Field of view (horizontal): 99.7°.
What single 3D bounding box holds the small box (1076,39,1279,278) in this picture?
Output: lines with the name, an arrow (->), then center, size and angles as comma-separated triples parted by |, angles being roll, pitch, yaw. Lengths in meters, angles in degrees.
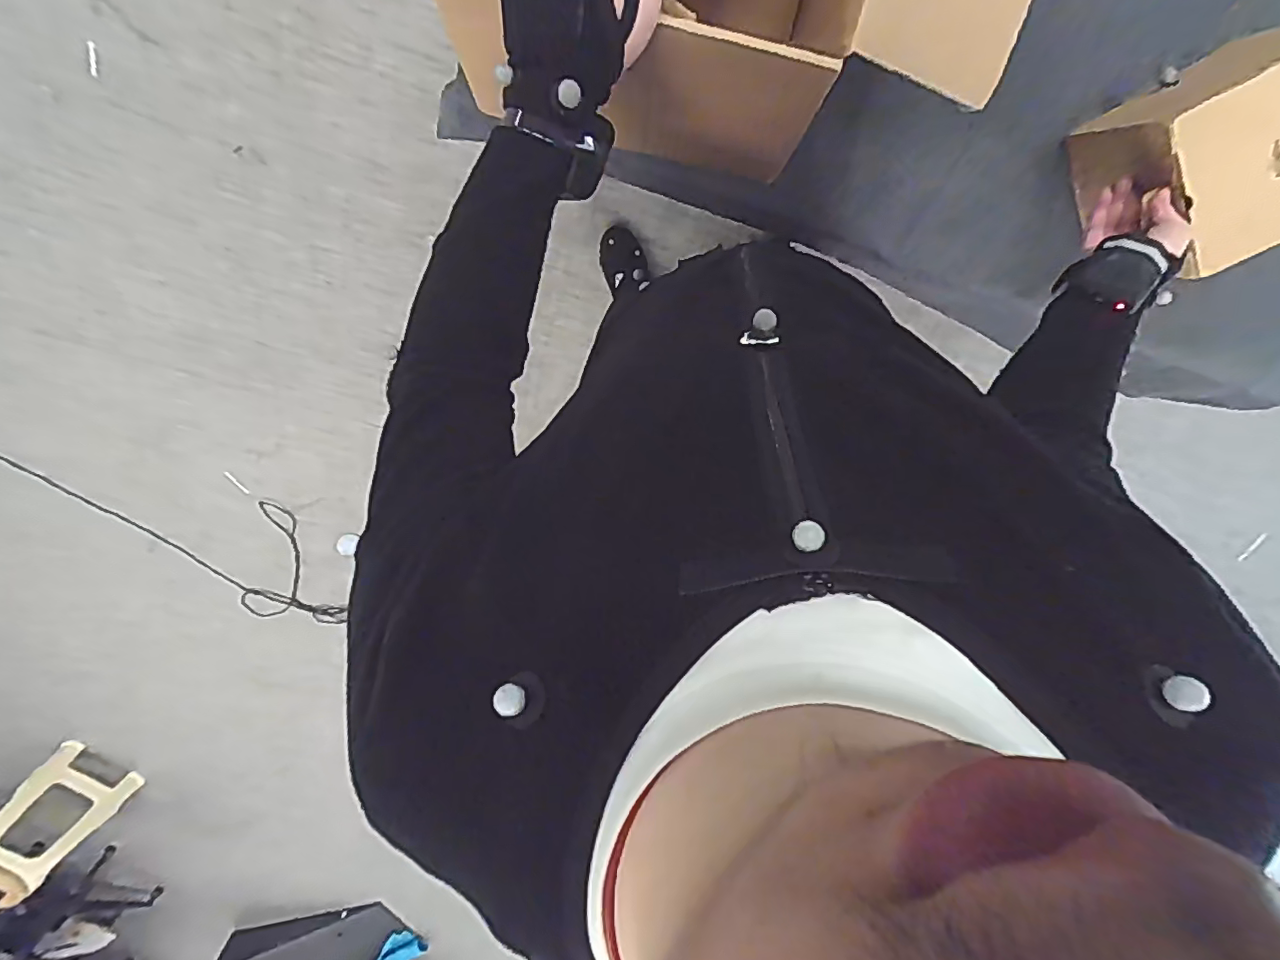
small box -> 0.618, -0.343, 0.586 | 0.179, 0.176, 0.168 | -25, 112, 17
